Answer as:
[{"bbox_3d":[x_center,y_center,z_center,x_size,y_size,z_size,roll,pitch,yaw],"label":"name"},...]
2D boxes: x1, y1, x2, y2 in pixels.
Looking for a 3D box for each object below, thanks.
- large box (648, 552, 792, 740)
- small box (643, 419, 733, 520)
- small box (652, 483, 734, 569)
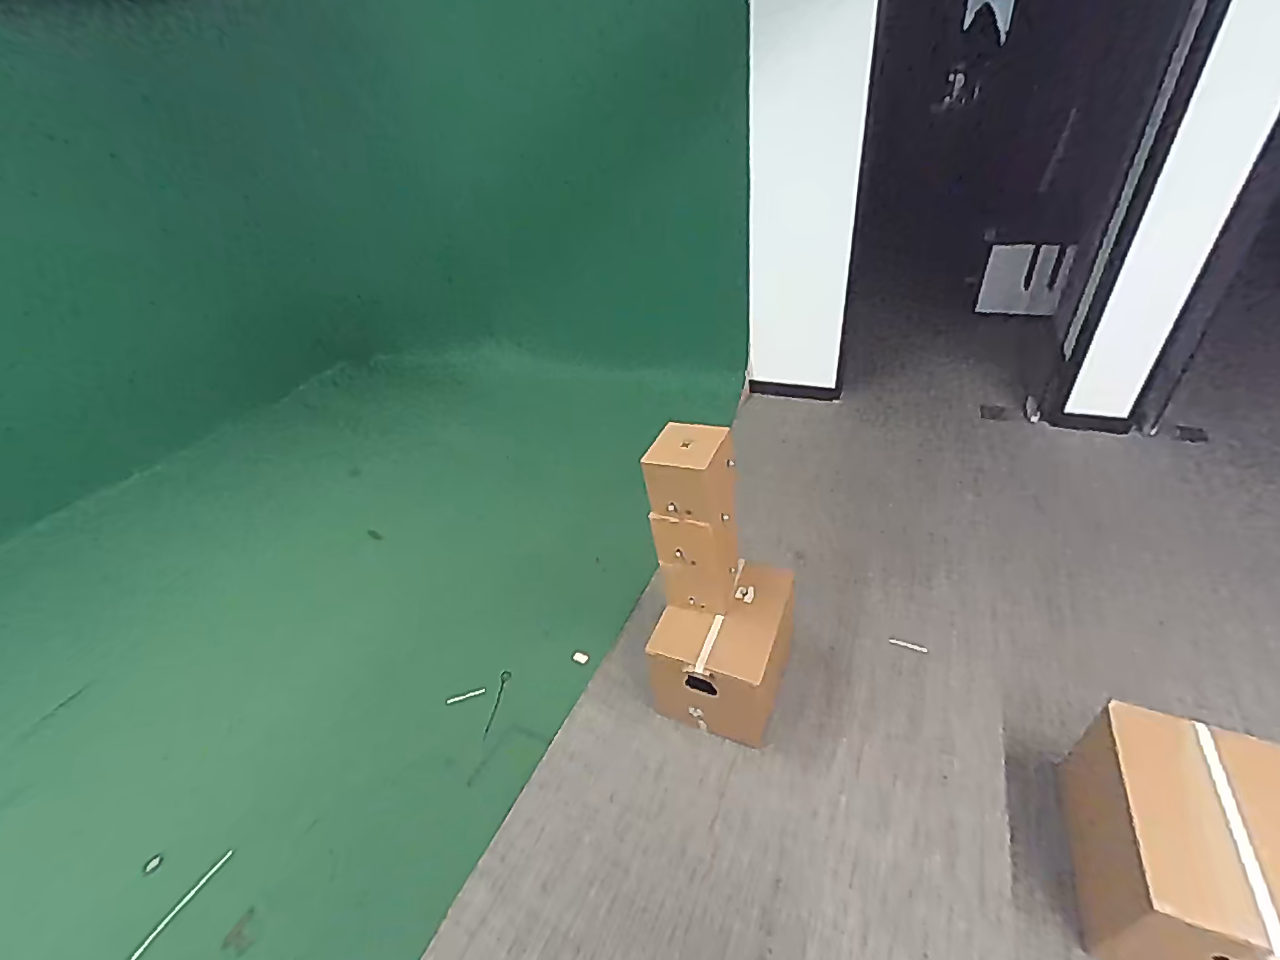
[{"bbox_3d":[0.255,0.472,1.600,0.320,0.320,0.408,9,40,24],"label":"large box"},{"bbox_3d":[0.126,-0.028,1.333,0.168,0.176,0.179,8,42,27],"label":"small box"},{"bbox_3d":[0.147,0.105,1.427,0.168,0.176,0.179,7,41,25],"label":"small box"}]
